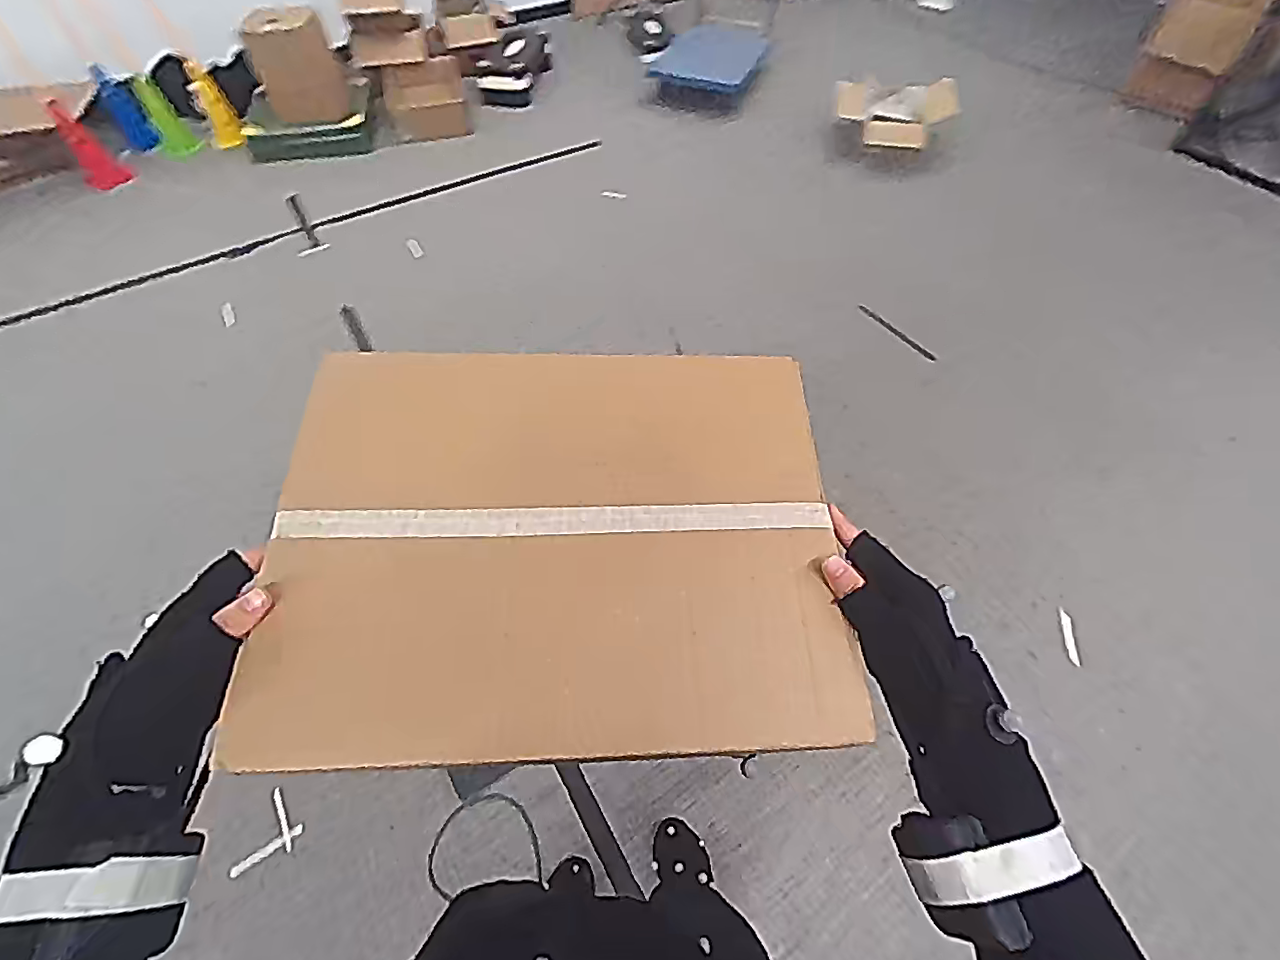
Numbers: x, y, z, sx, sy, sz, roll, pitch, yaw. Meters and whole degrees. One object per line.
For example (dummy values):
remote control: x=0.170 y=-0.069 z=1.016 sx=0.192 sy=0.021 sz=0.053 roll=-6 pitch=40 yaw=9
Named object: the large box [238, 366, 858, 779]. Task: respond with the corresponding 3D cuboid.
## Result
large box: x=-0.066 y=0.103 z=0.543 sx=0.408 sy=0.320 sz=0.320 roll=-1 pitch=63 yaw=-5
